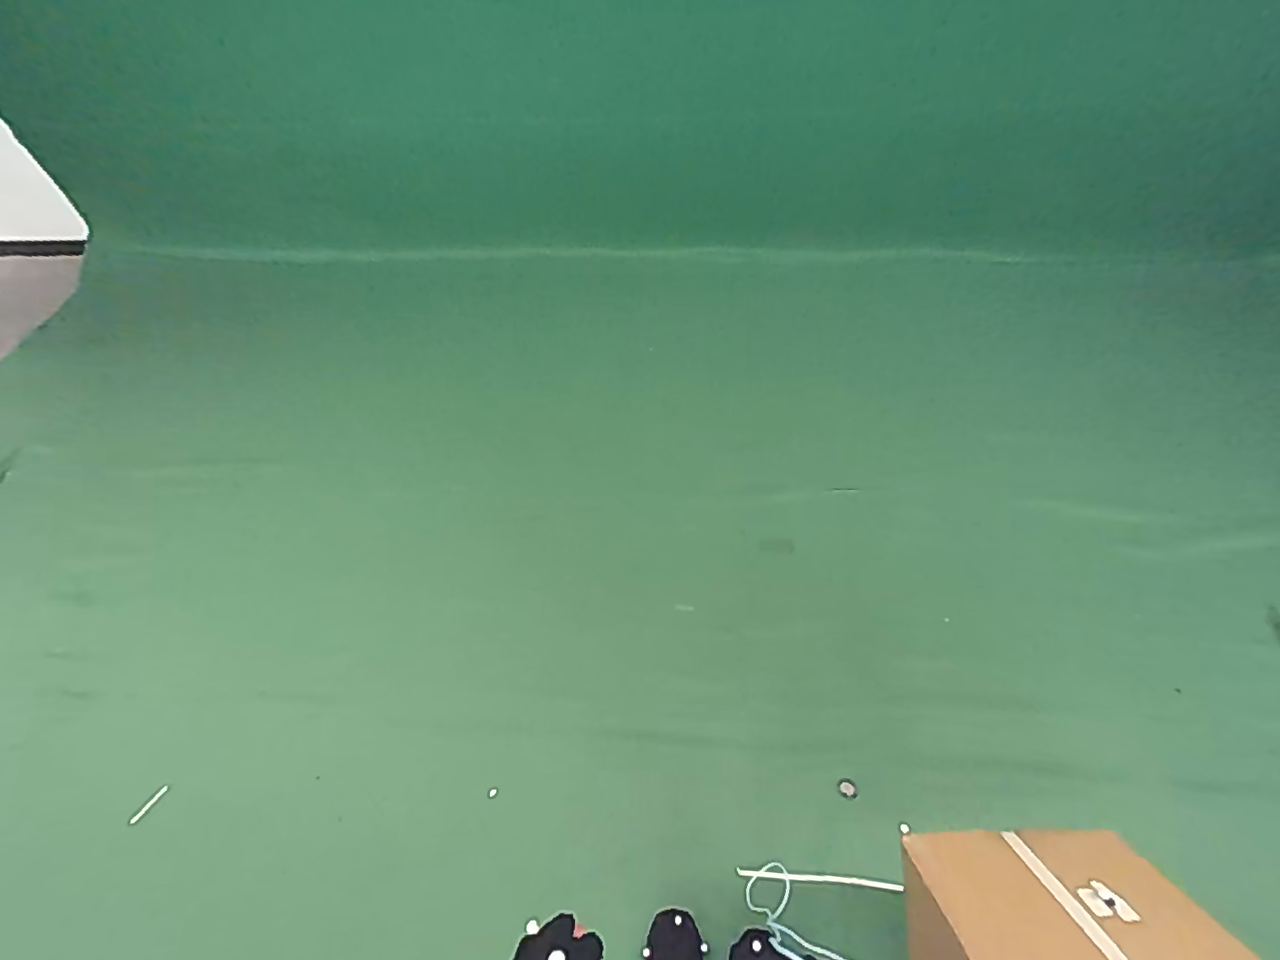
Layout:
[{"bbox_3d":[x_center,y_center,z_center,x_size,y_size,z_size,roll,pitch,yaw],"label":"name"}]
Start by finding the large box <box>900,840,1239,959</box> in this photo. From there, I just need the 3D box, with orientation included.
[{"bbox_3d":[0.552,0.713,0.632,0.320,0.408,0.320,-3,91,4],"label":"large box"}]
